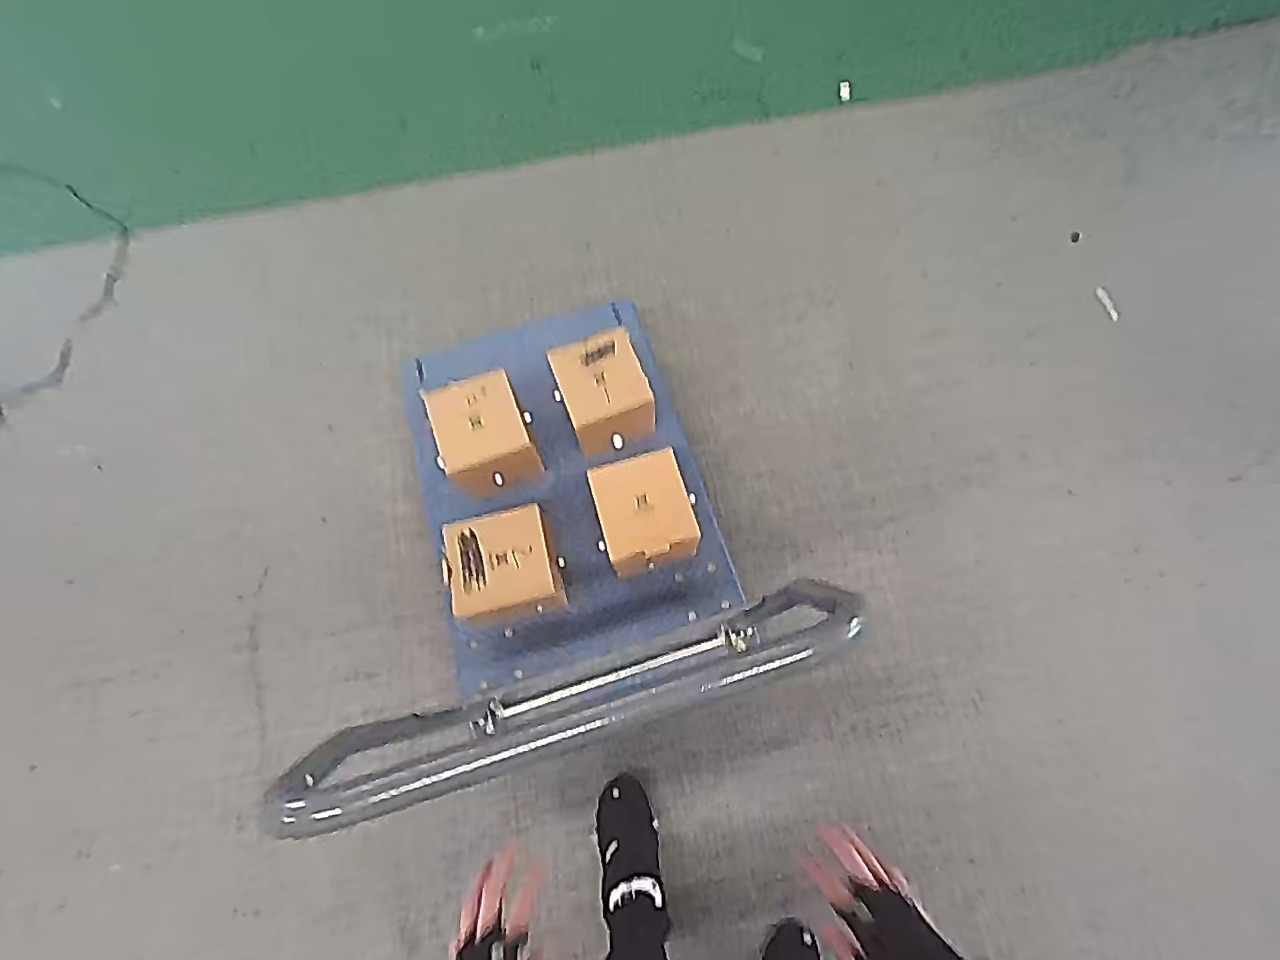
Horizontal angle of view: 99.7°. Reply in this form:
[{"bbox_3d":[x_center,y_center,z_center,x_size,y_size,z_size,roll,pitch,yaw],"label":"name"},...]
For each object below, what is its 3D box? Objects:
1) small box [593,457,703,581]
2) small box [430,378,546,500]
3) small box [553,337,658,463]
[{"bbox_3d":[0.012,0.081,1.044,0.168,0.176,0.179,-16,71,-4],"label":"small box"},{"bbox_3d":[-0.303,-0.073,1.108,0.168,0.176,0.179,-20,71,-6],"label":"small box"},{"bbox_3d":[-0.069,-0.162,1.132,0.168,0.176,0.179,-20,72,-5],"label":"small box"}]
